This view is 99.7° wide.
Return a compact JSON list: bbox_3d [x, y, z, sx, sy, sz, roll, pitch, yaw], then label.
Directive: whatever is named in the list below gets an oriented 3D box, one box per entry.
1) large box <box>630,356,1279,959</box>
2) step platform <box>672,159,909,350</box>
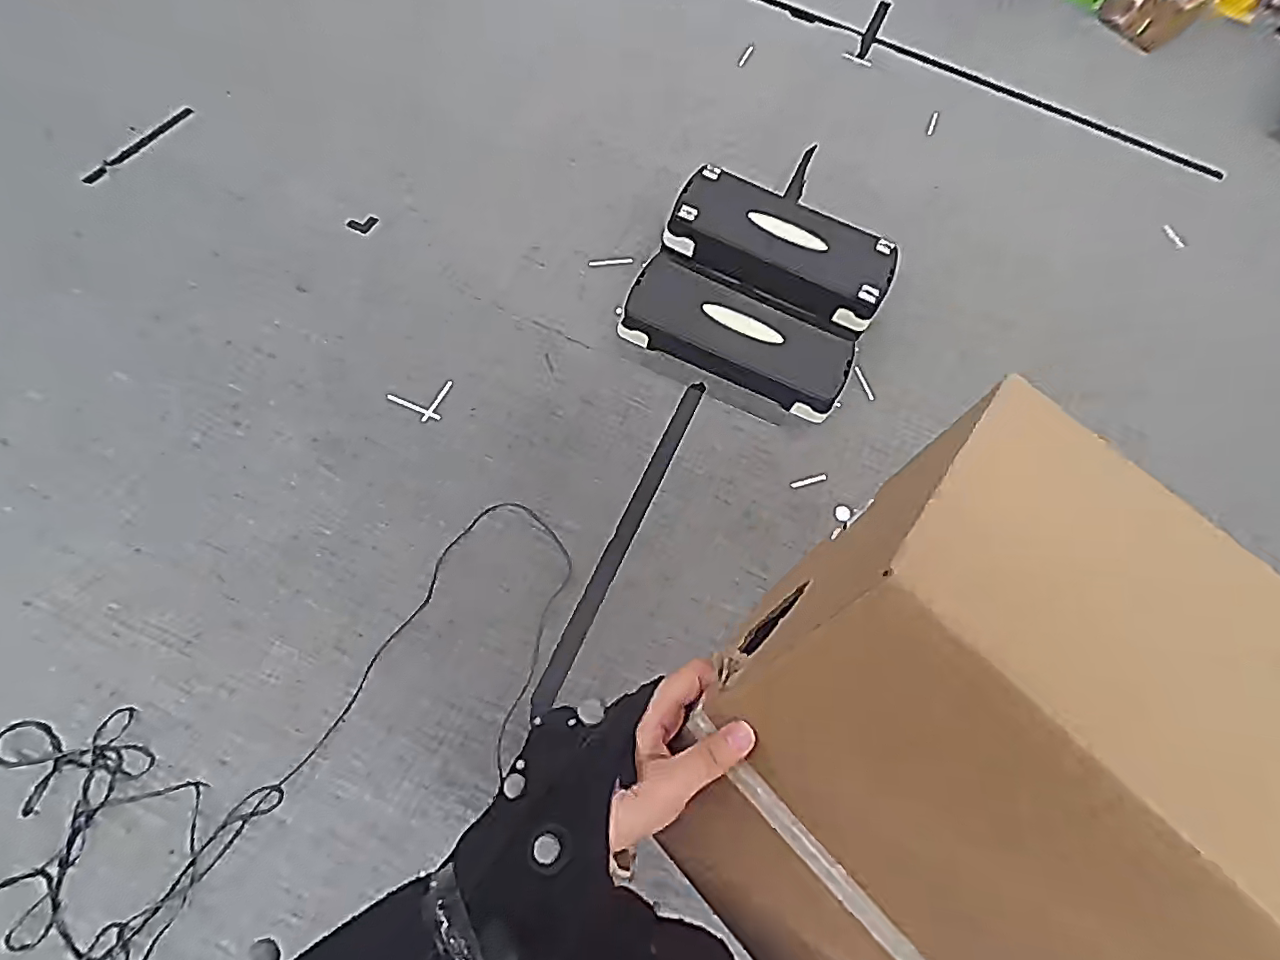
[{"bbox_3d":[0.275,0.183,0.352,0.408,0.320,0.320,44,45,14],"label":"large box"},{"bbox_3d":[0.448,-0.689,1.642,0.684,0.204,0.286,30,67,5],"label":"step platform"}]
